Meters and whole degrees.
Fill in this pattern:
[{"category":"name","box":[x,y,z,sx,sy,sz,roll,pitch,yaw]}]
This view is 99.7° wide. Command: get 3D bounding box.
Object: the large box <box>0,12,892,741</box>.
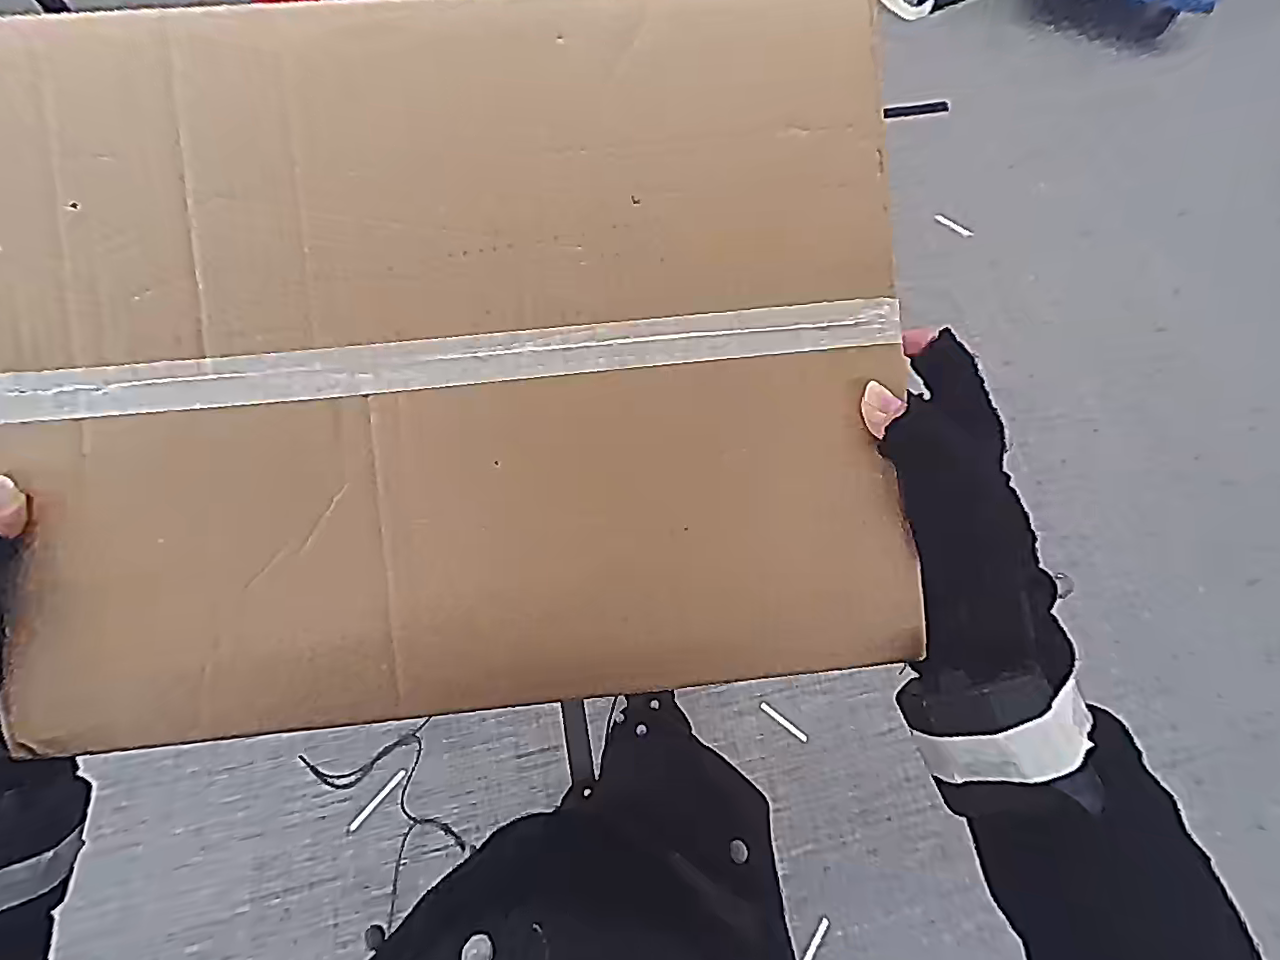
[{"category":"large box","box":[-0.092,-0.055,0.400,0.408,0.320,0.320,-5,91,-3]}]
